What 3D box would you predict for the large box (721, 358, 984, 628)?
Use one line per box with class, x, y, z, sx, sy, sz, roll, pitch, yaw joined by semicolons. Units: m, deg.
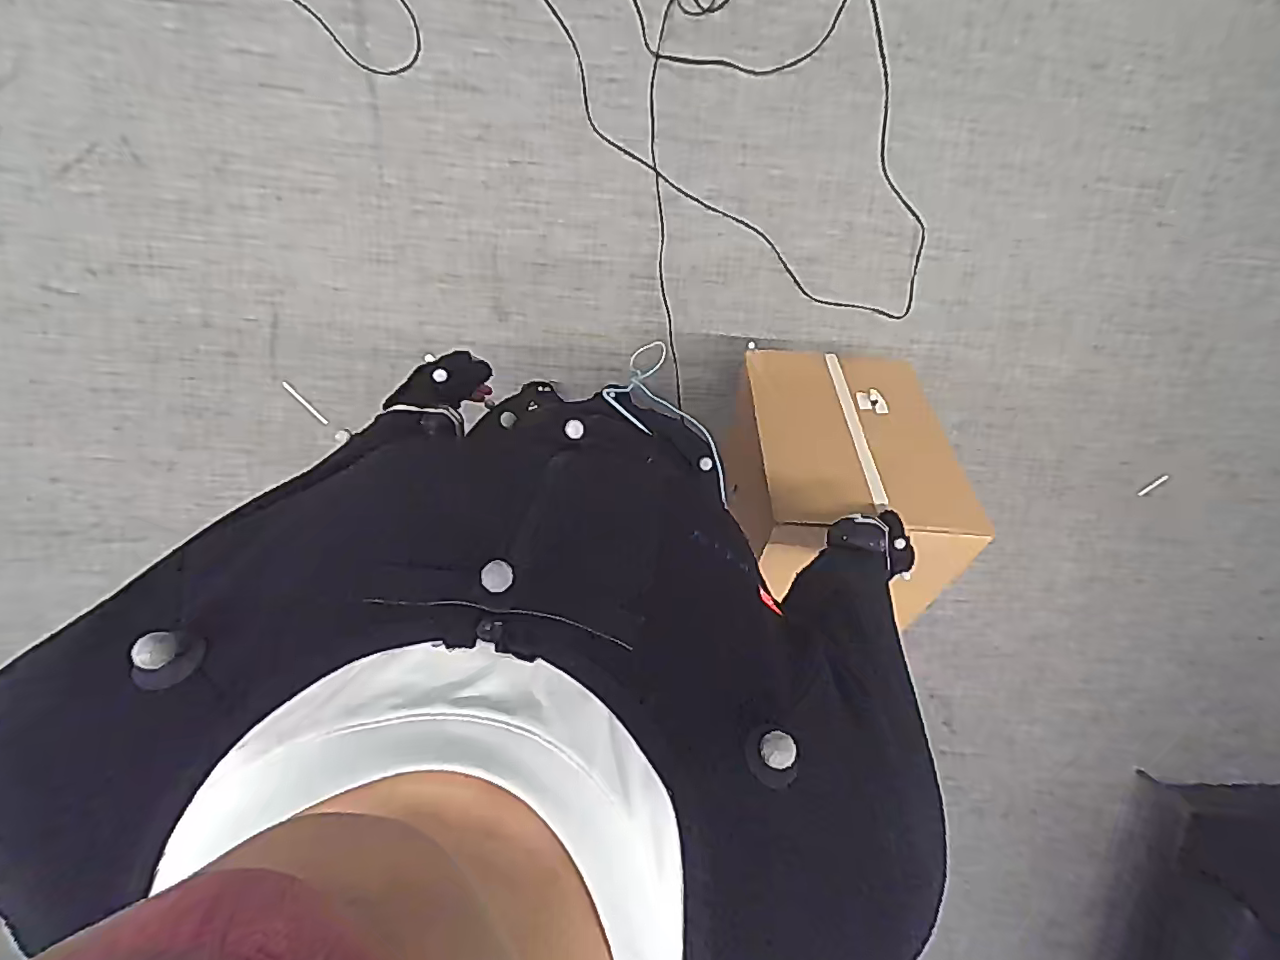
large box;0.338;0.024;1.006;0.320;0.408;0.320;4;138;-2
